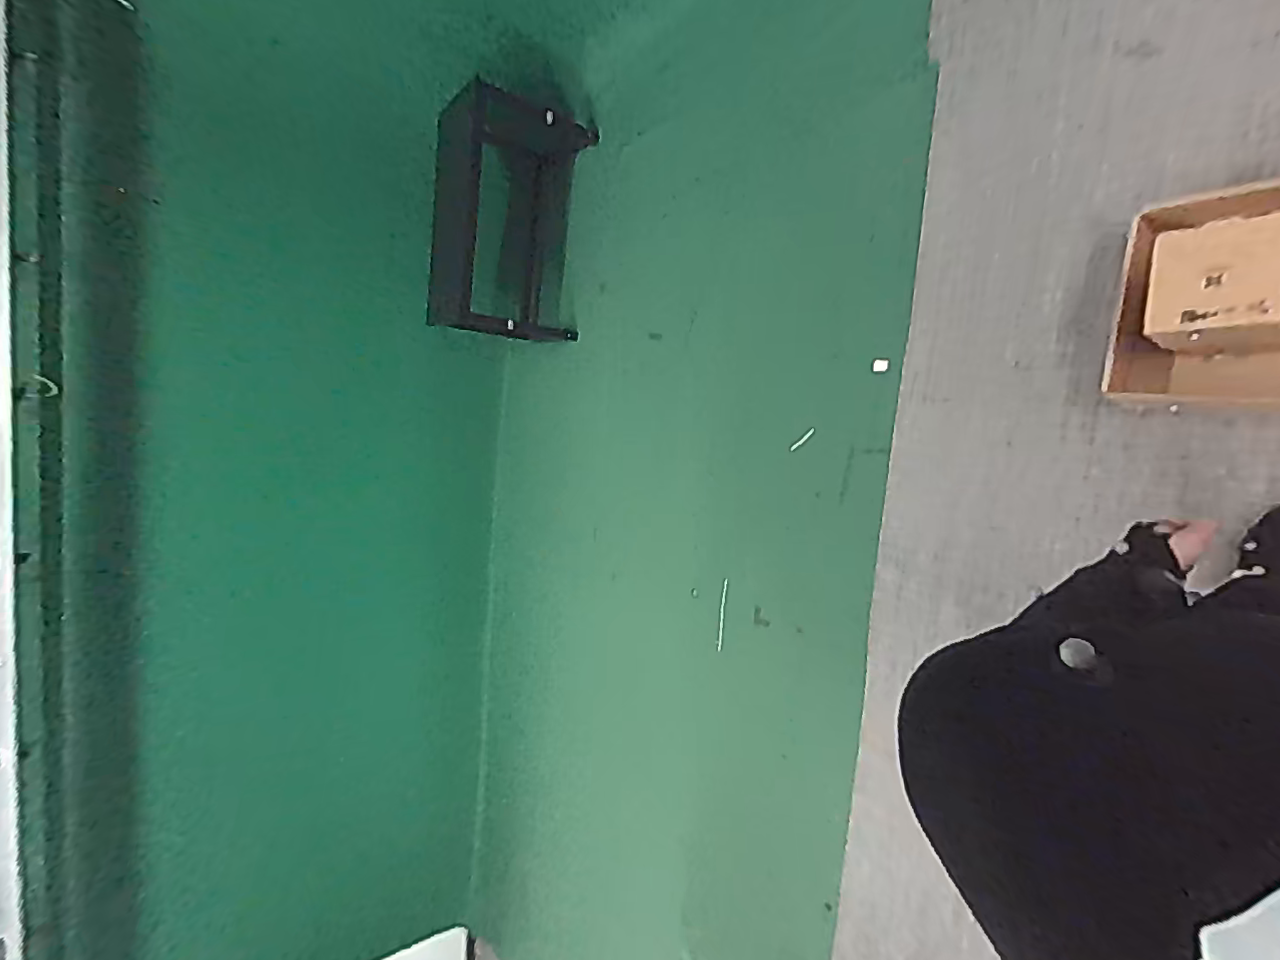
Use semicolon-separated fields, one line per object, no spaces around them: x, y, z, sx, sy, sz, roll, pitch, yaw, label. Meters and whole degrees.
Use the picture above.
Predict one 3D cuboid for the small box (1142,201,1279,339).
1.023;-0.357;0.952;0.168;0.176;0.179;9;97;53;small box
